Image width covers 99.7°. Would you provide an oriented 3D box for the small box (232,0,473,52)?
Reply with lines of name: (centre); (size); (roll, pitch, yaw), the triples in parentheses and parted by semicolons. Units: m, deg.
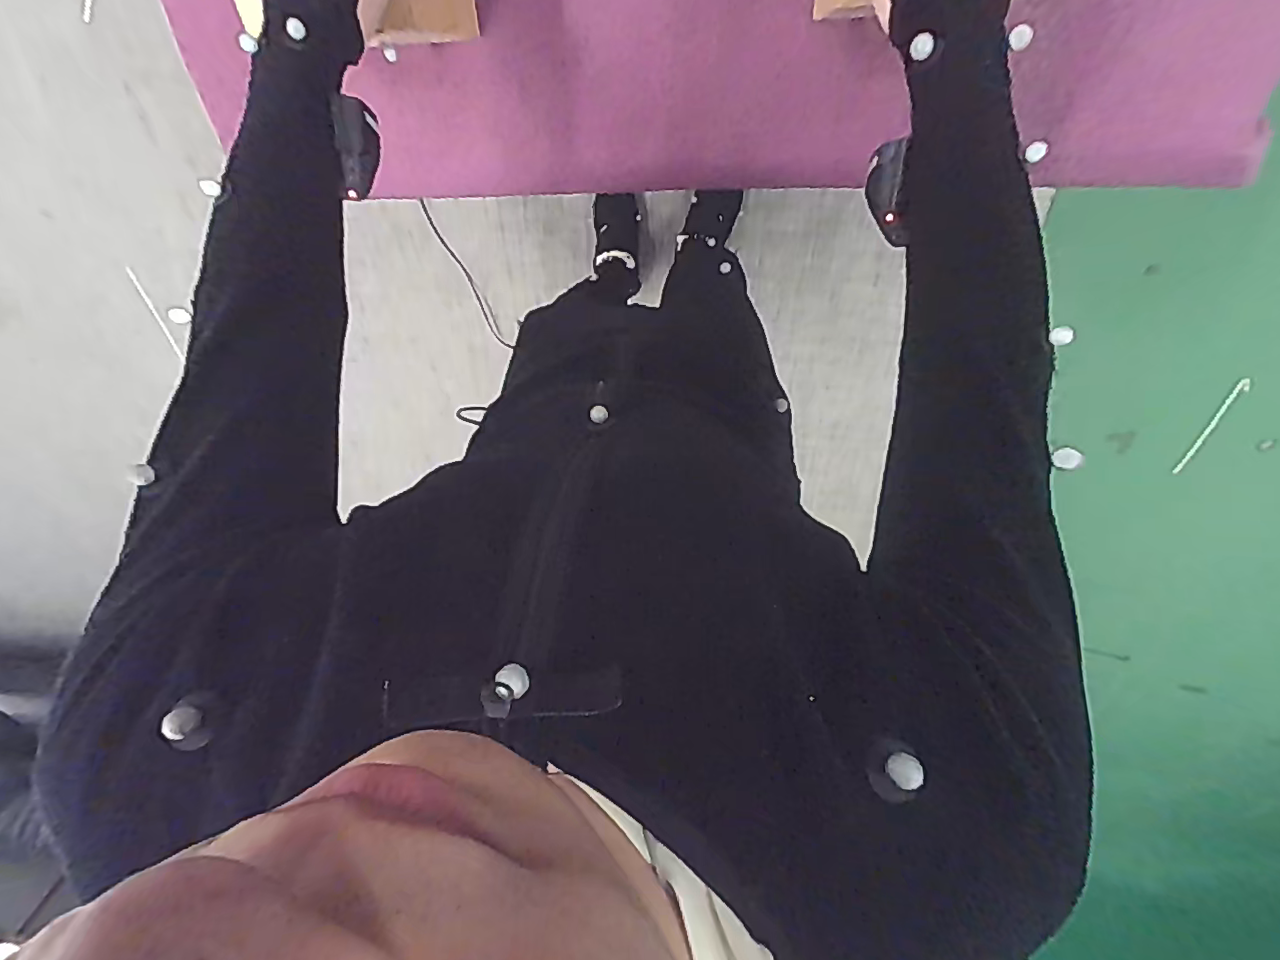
small box: (-0.278, -0.522, 0.509); (0.168, 0.176, 0.179); (2, 127, 7)
